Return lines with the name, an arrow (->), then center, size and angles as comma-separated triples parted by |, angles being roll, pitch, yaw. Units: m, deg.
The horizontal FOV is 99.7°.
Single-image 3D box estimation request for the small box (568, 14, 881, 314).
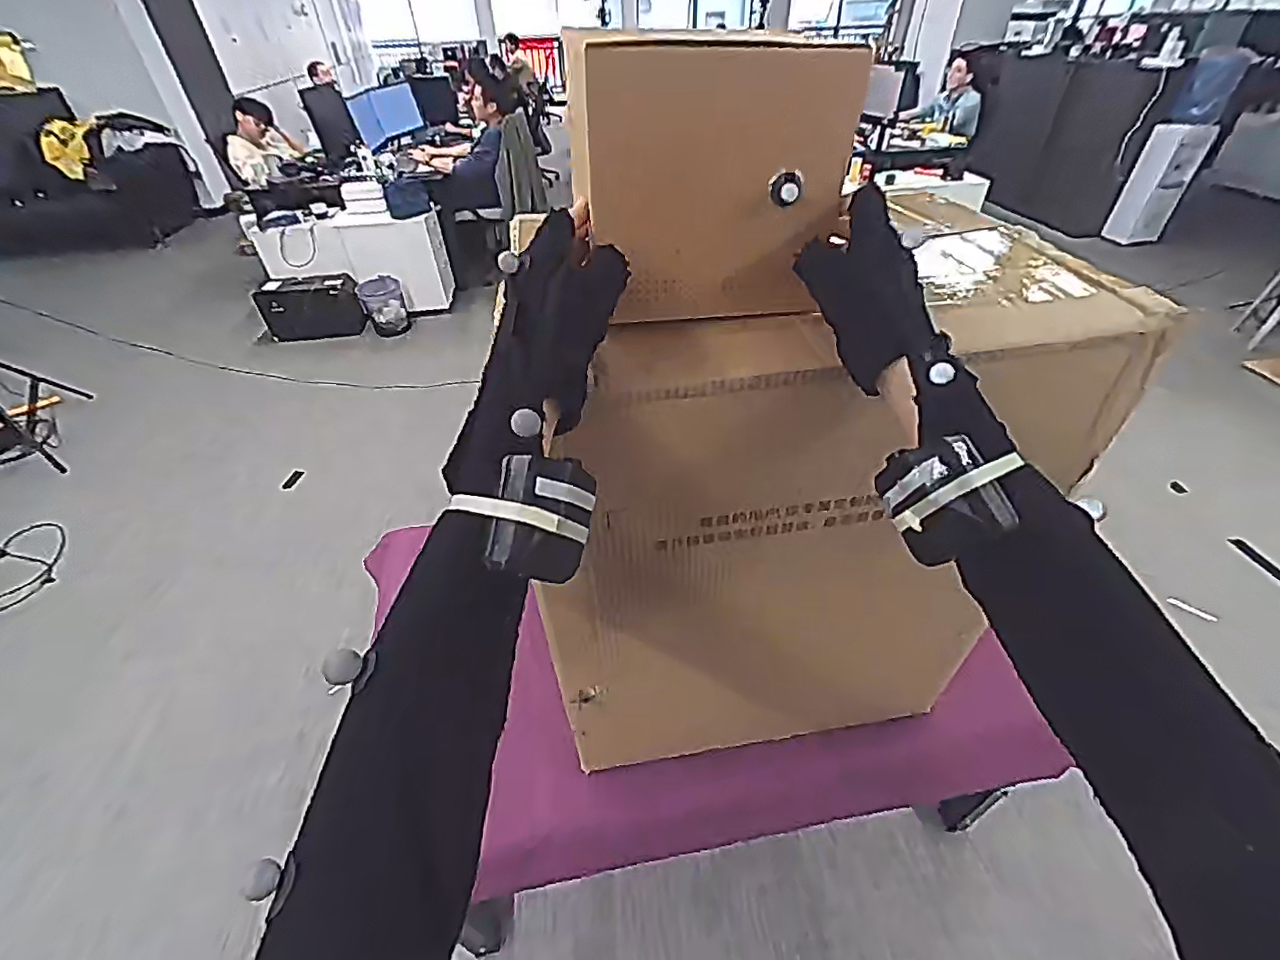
small box -> 0.043, -0.242, 0.415 | 0.179, 0.176, 0.168 | -7, 41, -8
